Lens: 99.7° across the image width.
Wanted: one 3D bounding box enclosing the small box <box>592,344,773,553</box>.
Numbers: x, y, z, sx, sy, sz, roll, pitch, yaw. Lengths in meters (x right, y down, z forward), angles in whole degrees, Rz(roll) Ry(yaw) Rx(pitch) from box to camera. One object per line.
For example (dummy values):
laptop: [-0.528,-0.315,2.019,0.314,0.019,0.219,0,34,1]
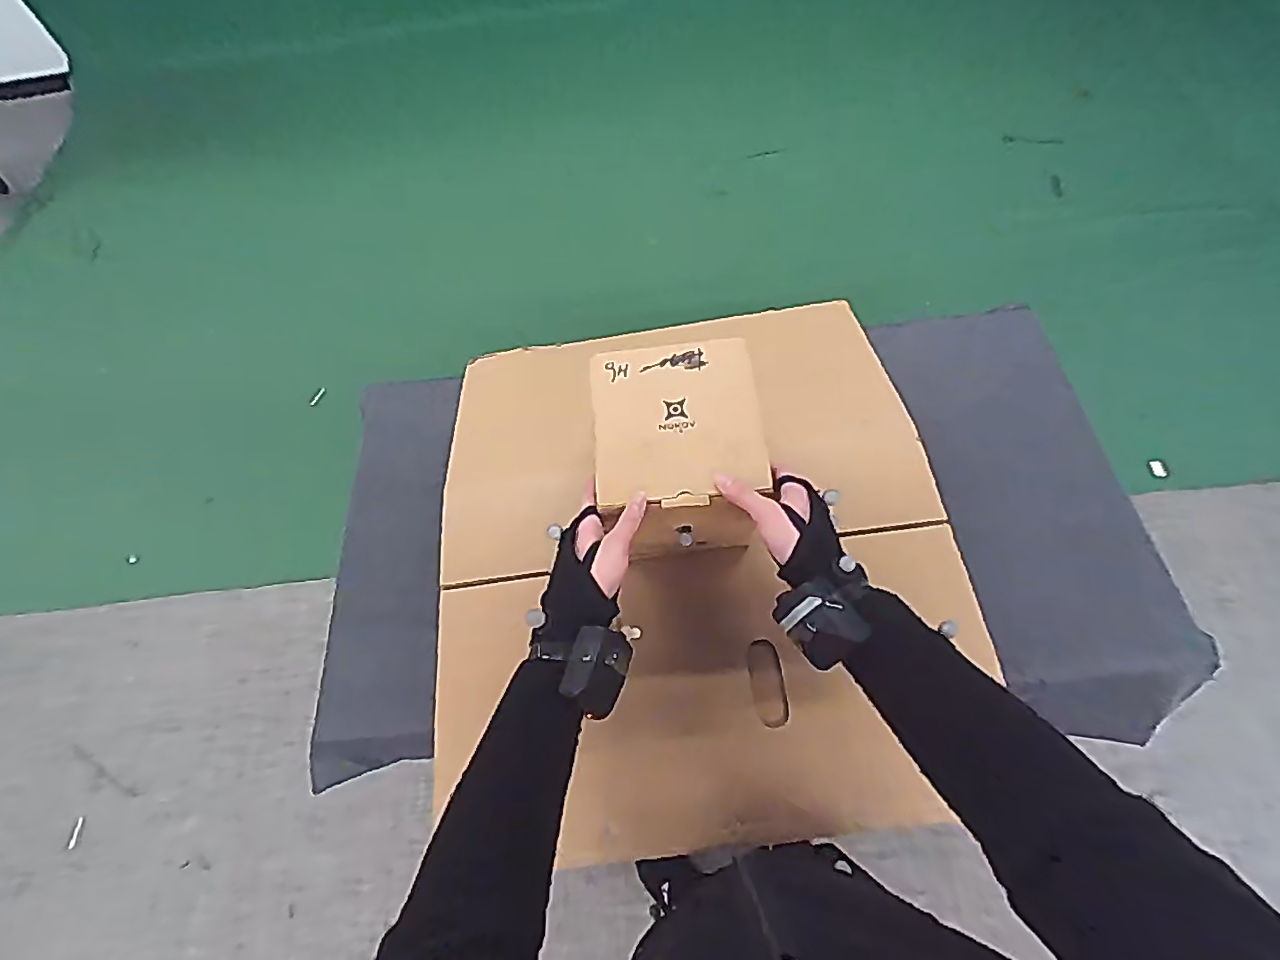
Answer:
small box: [0.045,-0.023,0.614,0.168,0.176,0.179,-8,65,2]
